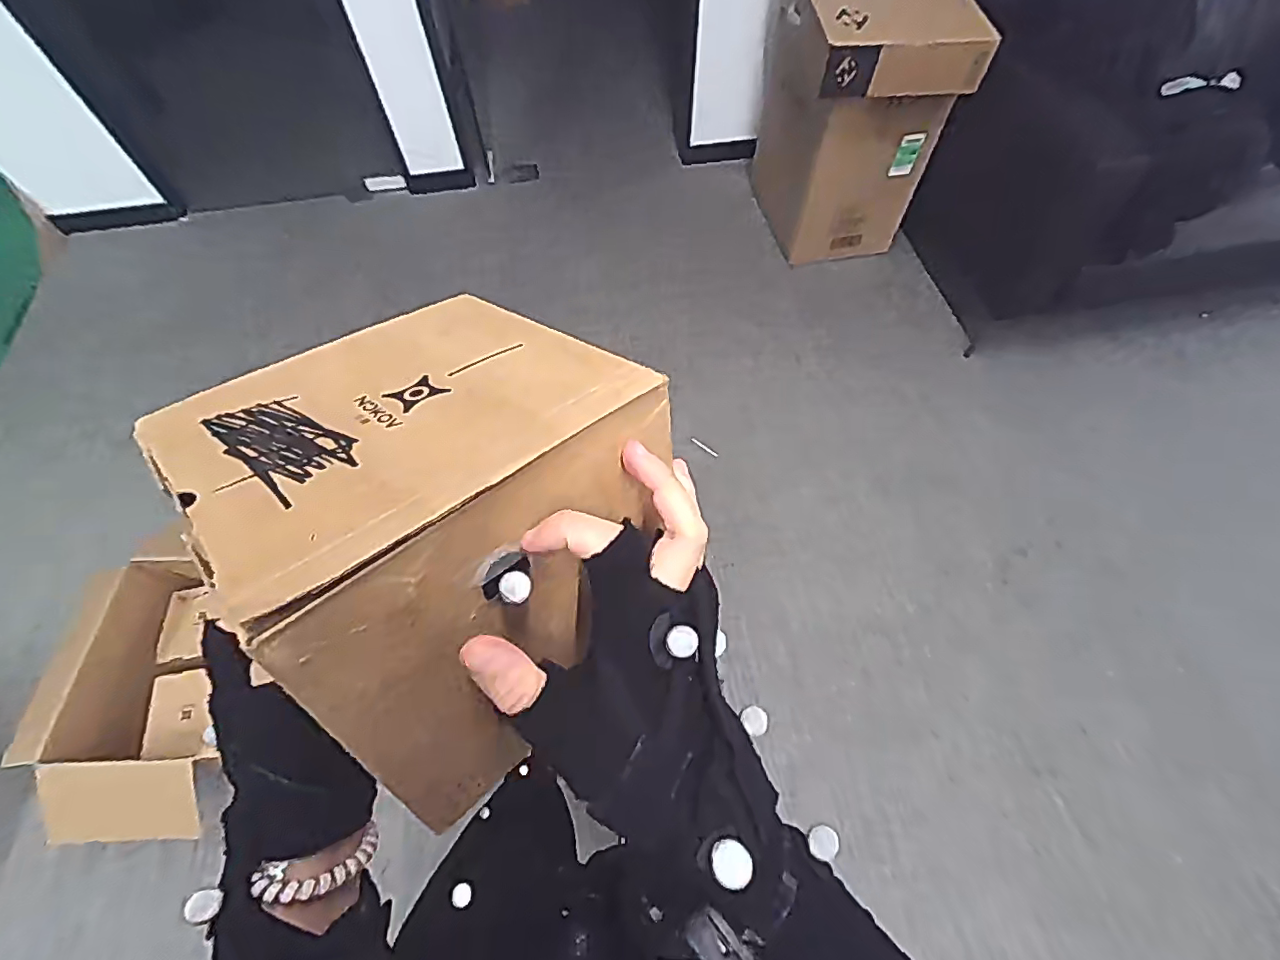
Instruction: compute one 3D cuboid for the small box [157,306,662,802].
[{"bbox_3d":[-0.101,0.030,0.298,0.168,0.176,0.179,30,53,35],"label":"small box"}]
